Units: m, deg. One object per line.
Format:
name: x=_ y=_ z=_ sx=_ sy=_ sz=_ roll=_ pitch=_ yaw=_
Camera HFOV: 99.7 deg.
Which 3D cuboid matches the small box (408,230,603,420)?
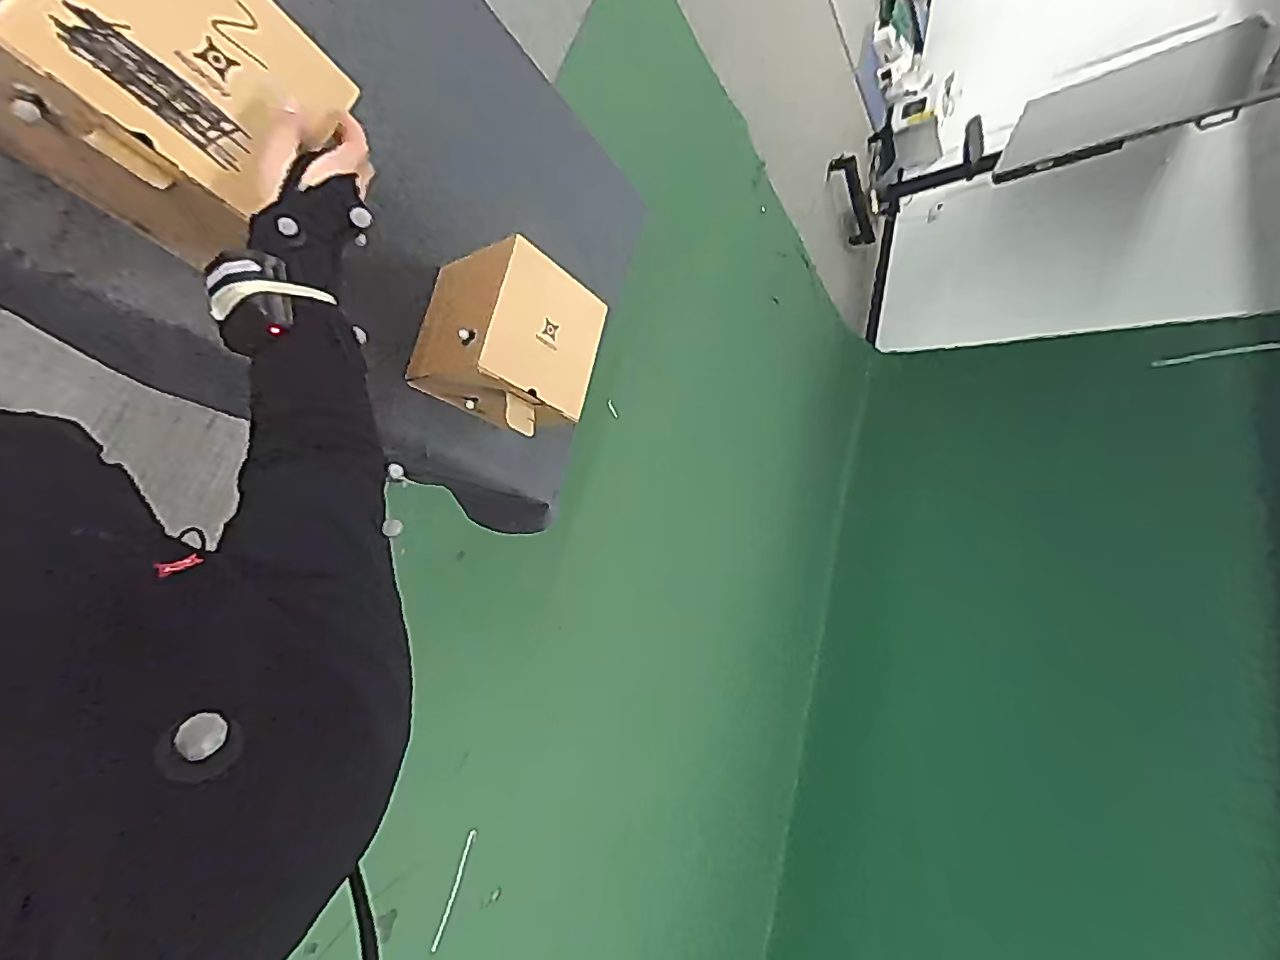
small box: x=-0.179 y=-0.191 z=0.722 sx=0.168 sy=0.176 sz=0.179 roll=26 pitch=73 yaw=-48
